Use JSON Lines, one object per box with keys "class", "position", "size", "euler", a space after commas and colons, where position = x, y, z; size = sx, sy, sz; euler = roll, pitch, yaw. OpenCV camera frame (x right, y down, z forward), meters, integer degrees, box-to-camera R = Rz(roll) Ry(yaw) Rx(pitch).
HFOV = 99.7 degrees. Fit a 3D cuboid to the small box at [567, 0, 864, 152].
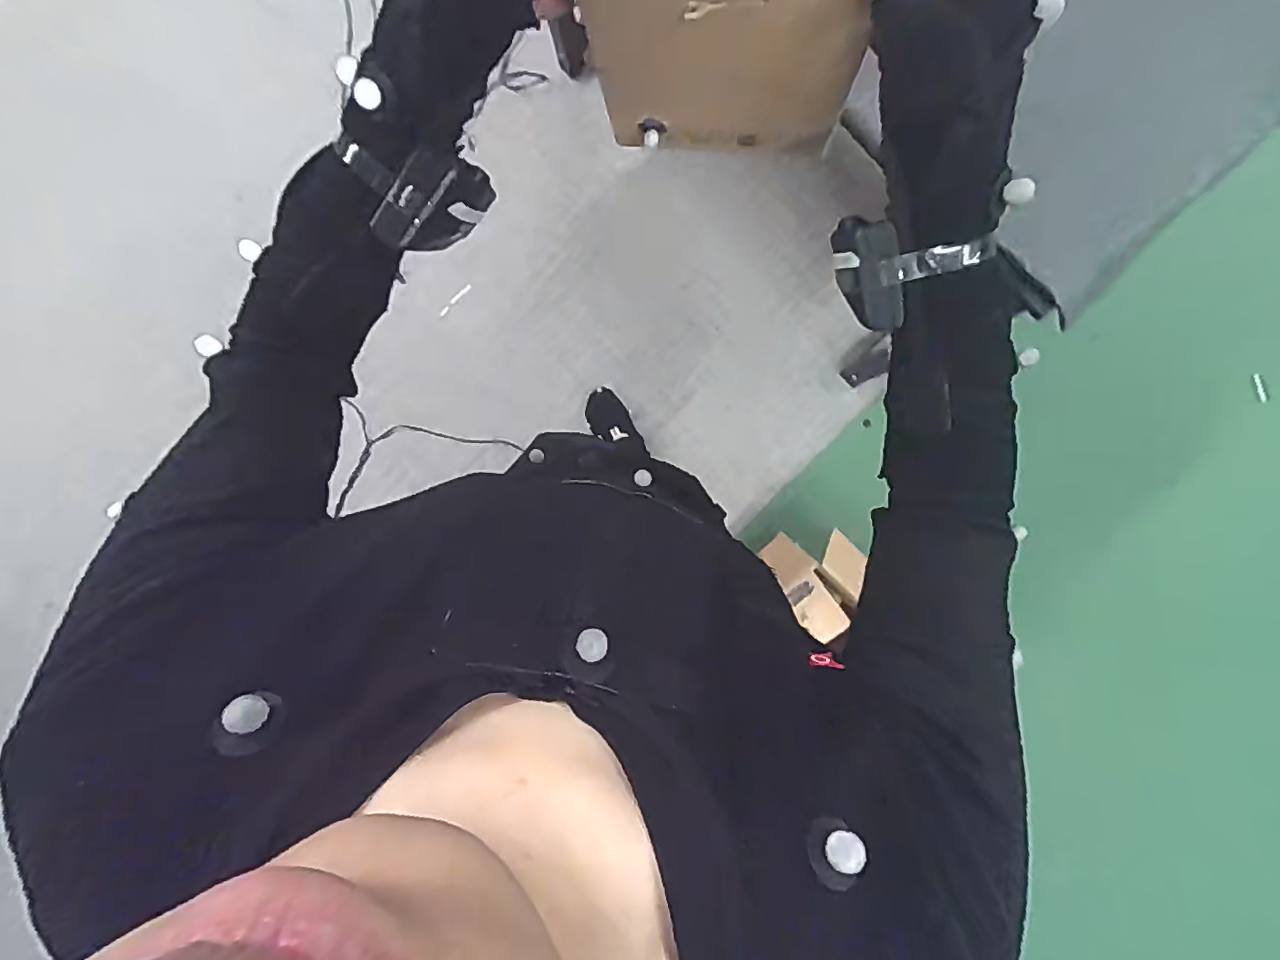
{"class": "small box", "position": [0.057, -0.343, 0.347], "size": [0.168, 0.176, 0.179], "euler": [6, 93, 6]}
